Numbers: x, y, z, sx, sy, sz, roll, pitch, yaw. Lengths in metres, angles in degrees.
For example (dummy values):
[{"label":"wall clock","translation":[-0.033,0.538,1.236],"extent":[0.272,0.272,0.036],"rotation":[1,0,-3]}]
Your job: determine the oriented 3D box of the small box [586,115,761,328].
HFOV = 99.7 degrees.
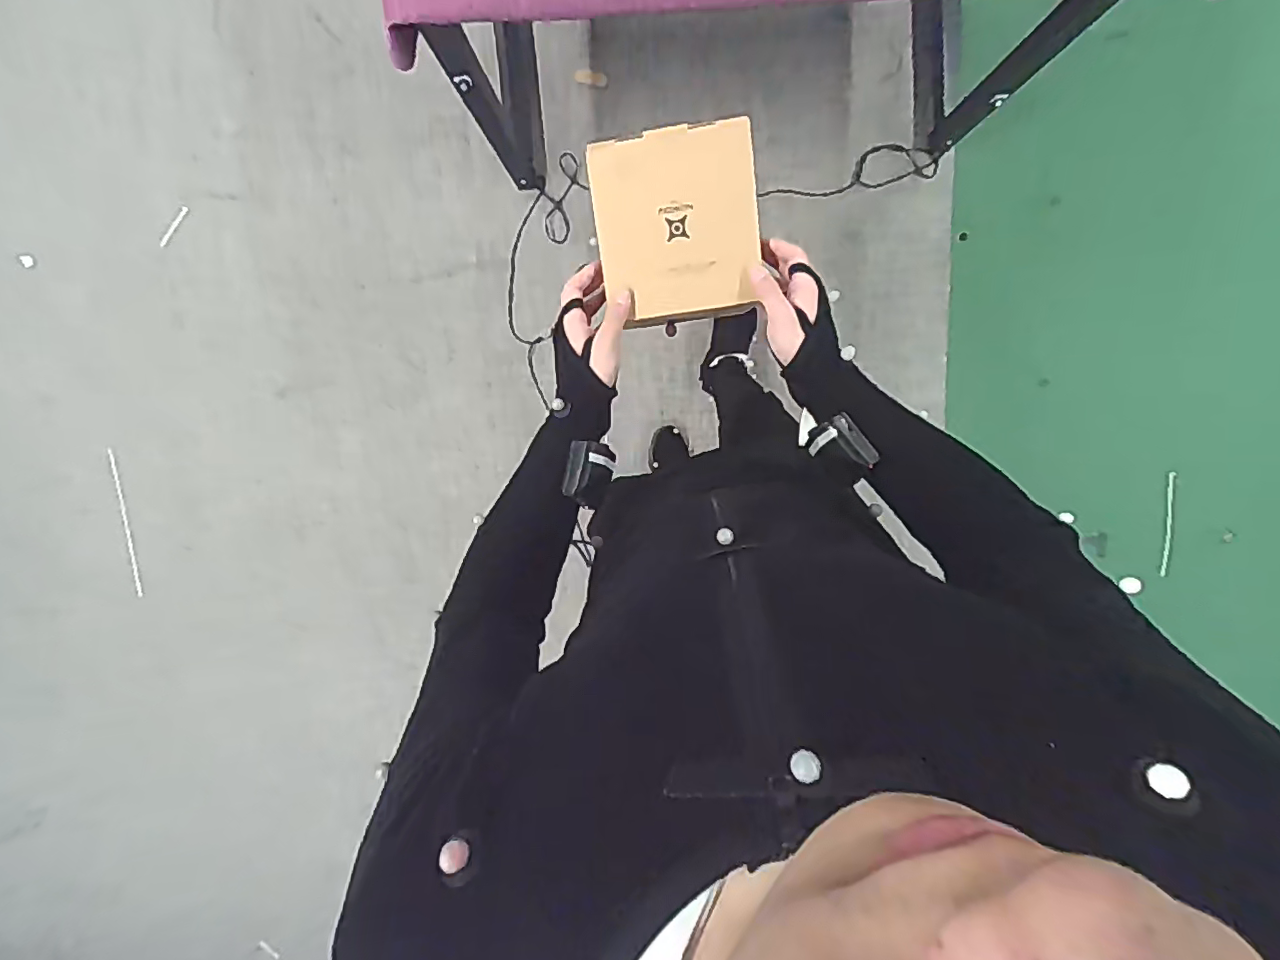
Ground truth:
[{"label":"small box","translation":[0.039,-0.279,0.625],"extent":[0.168,0.176,0.179],"rotation":[-7,102,5]}]
